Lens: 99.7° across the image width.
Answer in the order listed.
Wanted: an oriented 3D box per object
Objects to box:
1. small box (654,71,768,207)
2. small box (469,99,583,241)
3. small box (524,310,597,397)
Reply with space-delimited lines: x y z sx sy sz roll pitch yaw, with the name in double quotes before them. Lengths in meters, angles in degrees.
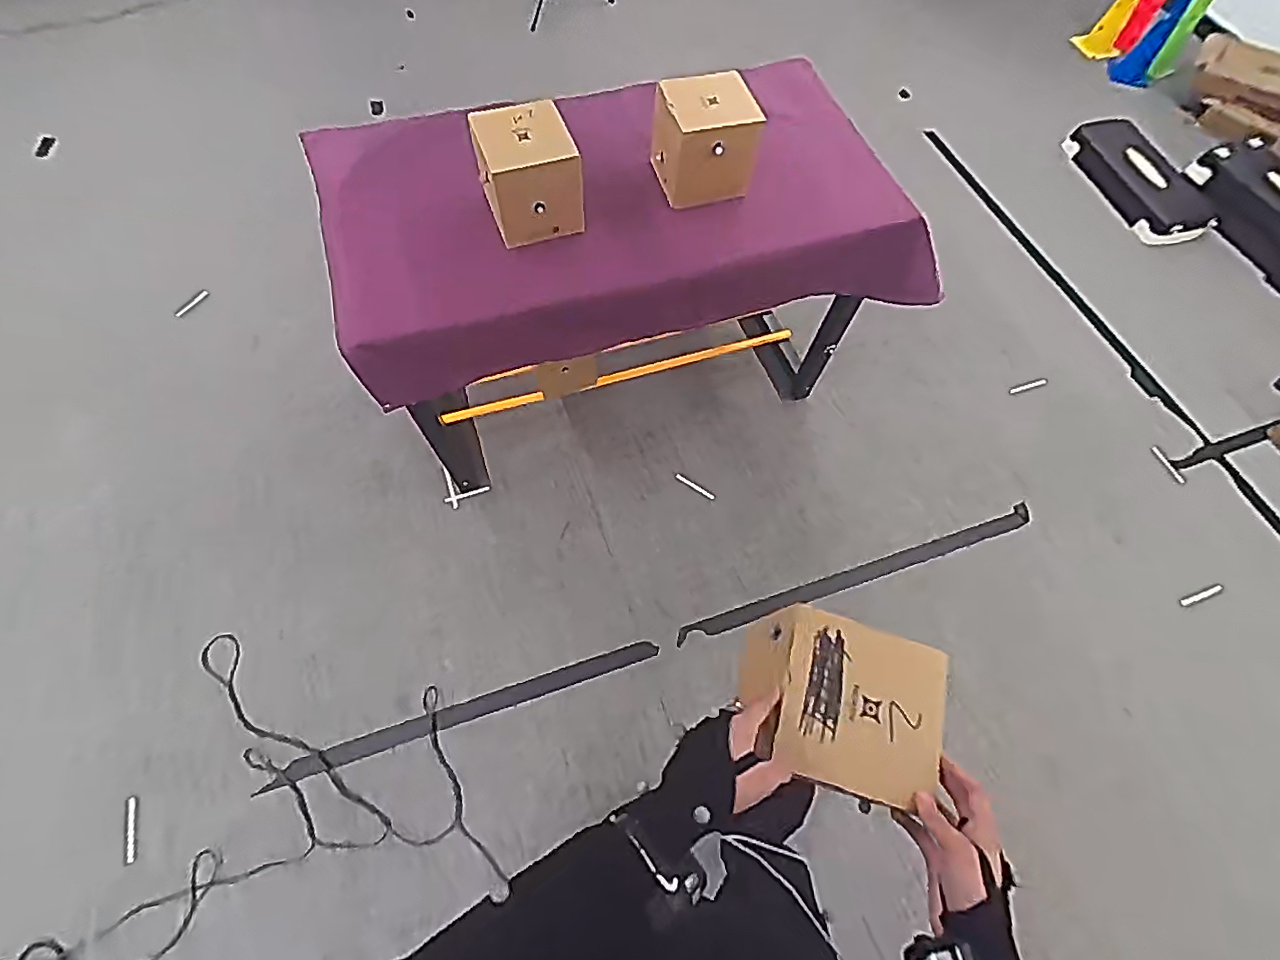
"small box" 0.137 -0.701 1.121 0.179 0.176 0.168 -14 67 -8
"small box" -0.215 -0.592 1.053 0.168 0.176 0.179 -18 67 -11
"small box" -0.234 -0.376 1.630 0.179 0.176 0.168 -19 68 -12
